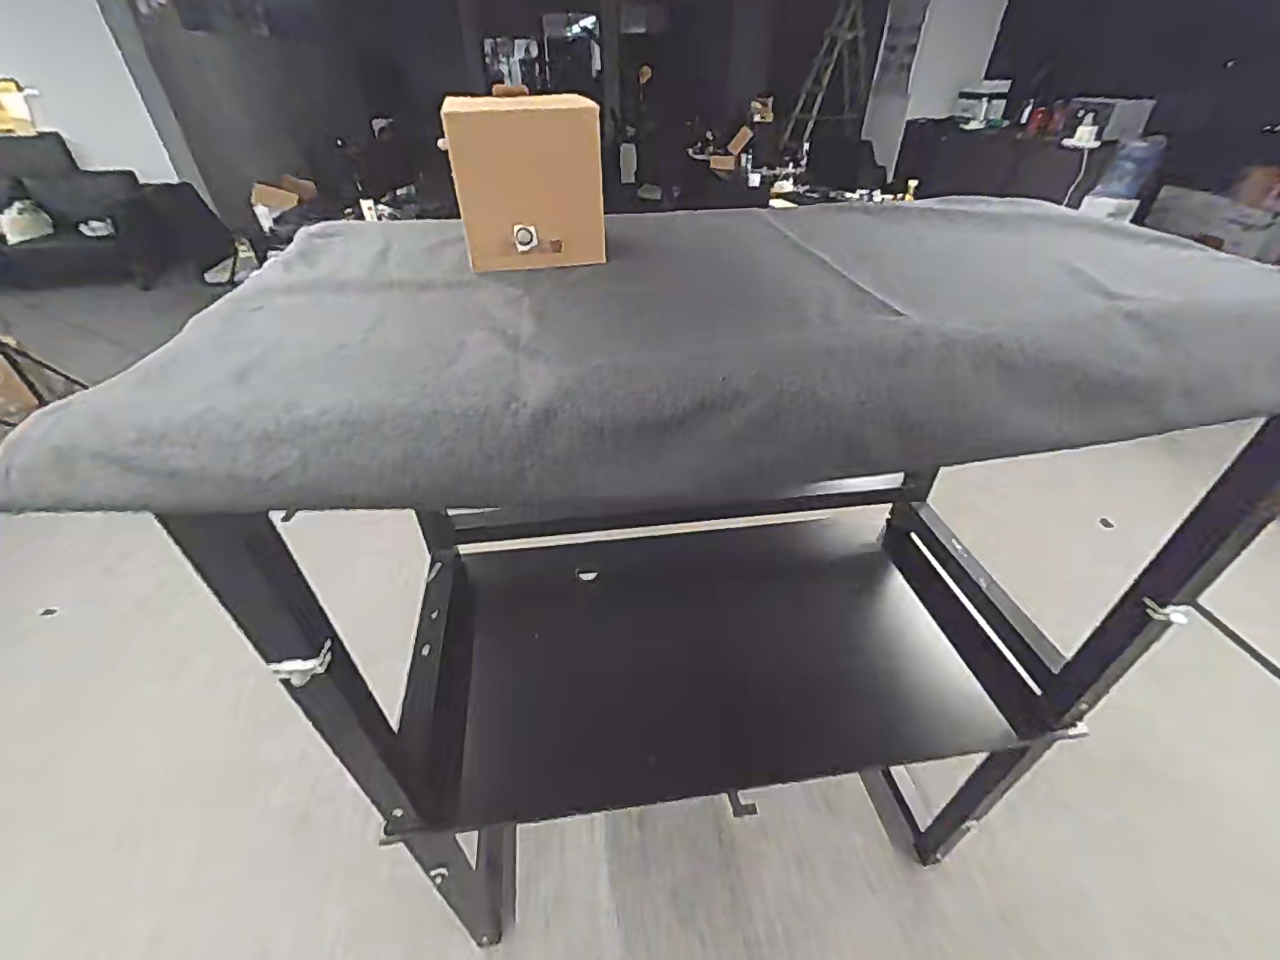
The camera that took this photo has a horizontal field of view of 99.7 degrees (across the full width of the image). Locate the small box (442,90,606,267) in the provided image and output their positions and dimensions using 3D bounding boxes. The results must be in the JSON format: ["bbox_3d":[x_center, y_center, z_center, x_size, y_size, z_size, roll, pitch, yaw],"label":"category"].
[{"bbox_3d":[-0.139,-0.376,0.671,0.168,0.176,0.179,-9,39,-10],"label":"small box"}]
